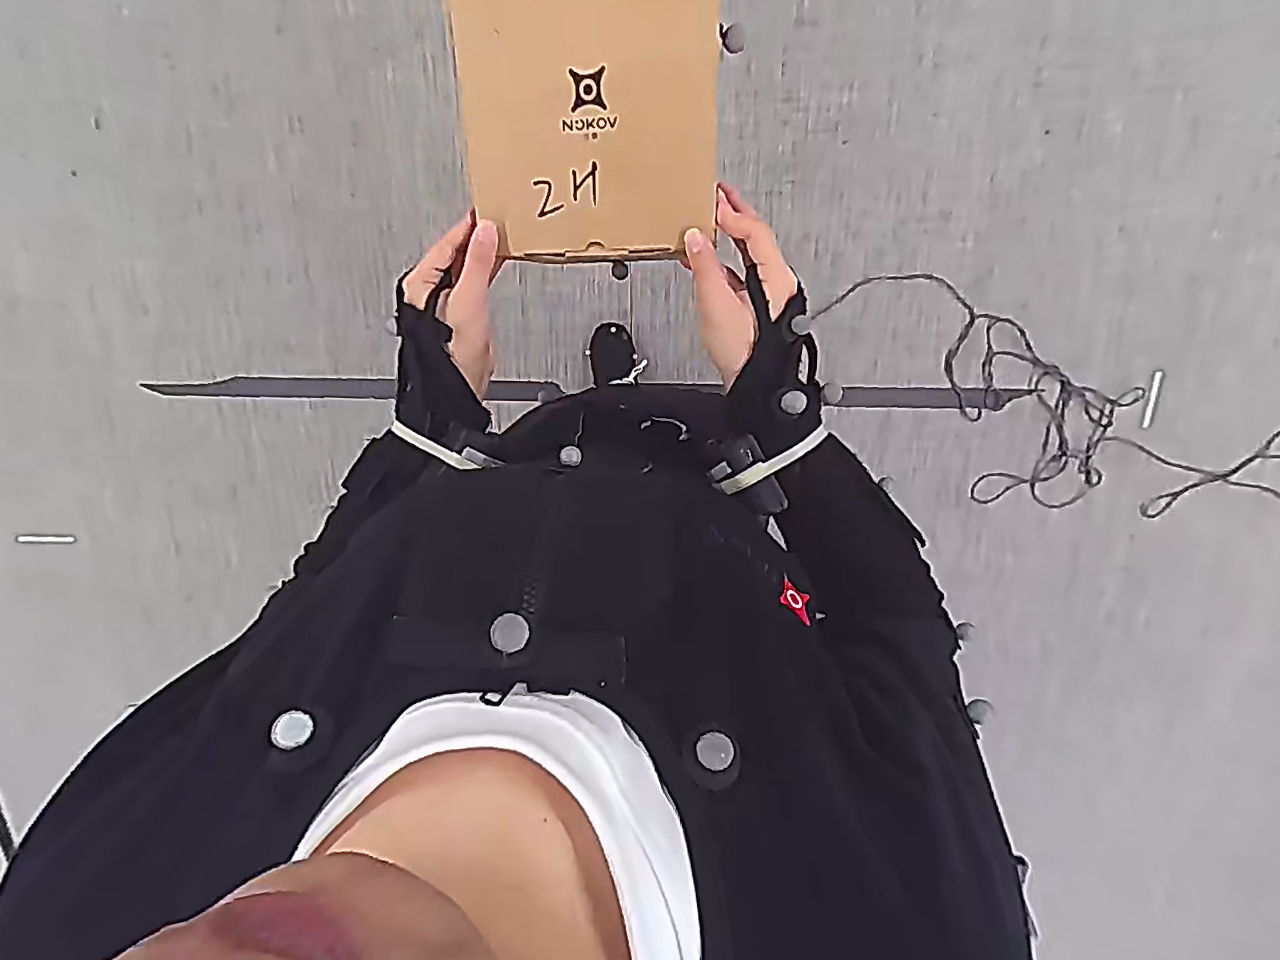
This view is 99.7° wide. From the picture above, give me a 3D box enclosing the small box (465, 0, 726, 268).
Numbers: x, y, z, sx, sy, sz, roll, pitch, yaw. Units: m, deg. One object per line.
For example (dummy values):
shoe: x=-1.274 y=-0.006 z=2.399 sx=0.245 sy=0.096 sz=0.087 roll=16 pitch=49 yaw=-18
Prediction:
small box: x=-0.018 y=-0.267 z=0.424 sx=0.168 sy=0.176 sz=0.179 roll=0 pitch=109 yaw=8
